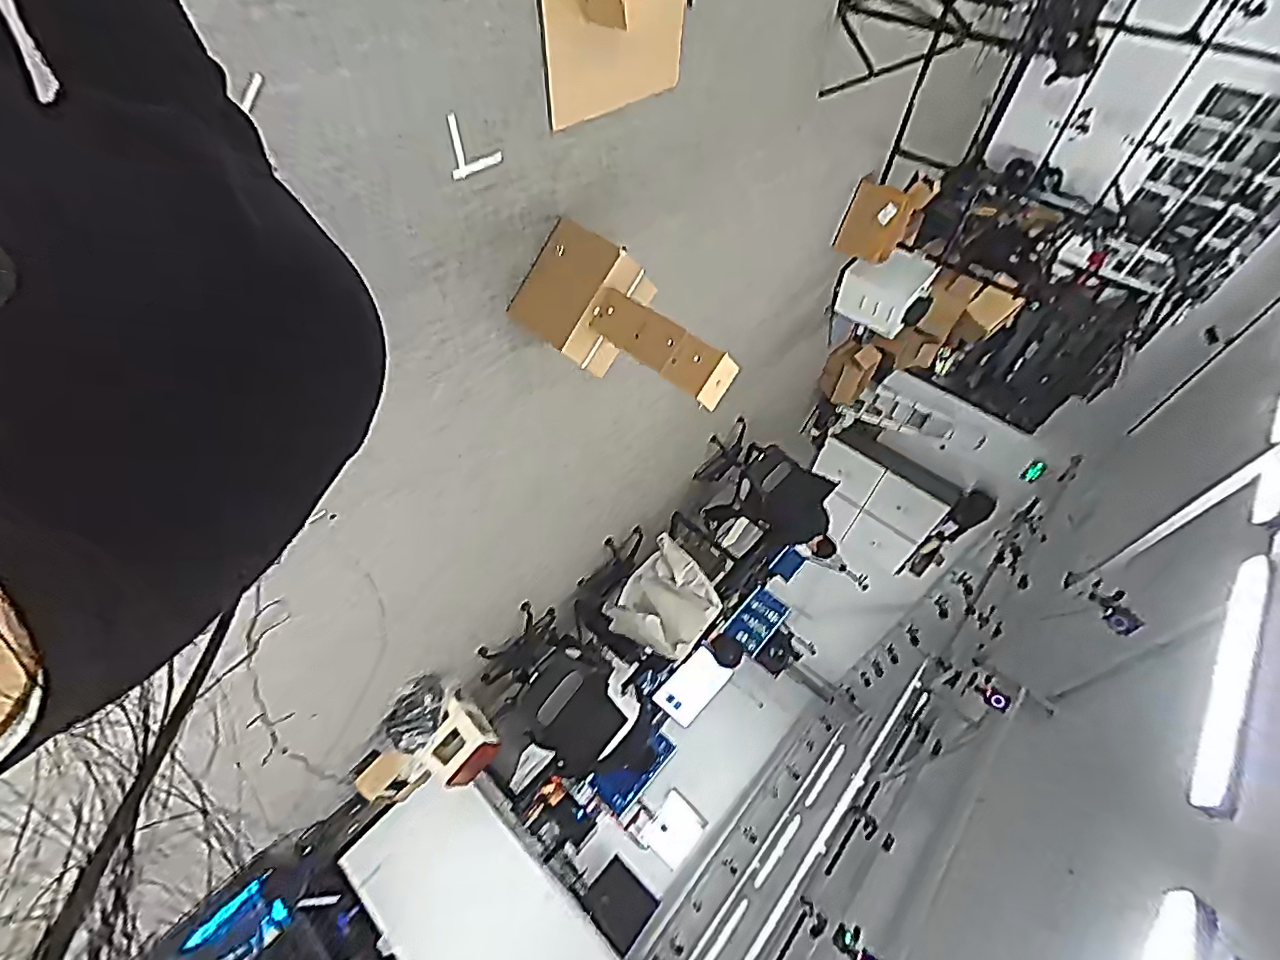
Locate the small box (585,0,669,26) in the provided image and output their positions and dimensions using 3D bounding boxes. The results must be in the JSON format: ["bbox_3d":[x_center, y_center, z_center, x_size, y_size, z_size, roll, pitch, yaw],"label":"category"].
[{"bbox_3d":[-0.042,-1.390,1.481,0.179,0.176,0.168,-44,152,-19],"label":"small box"}]

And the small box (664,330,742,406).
[{"bbox_3d":[0.205,-0.370,1.781,0.168,0.176,0.179,-57,156,9],"label":"small box"}]

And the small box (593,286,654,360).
[{"bbox_3d":[-0.033,-0.555,1.910,0.168,0.176,0.179,-57,156,9],"label":"small box"}]

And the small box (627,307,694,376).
[{"bbox_3d":[0.089,-0.464,1.847,0.168,0.176,0.179,-57,157,9],"label":"small box"}]
